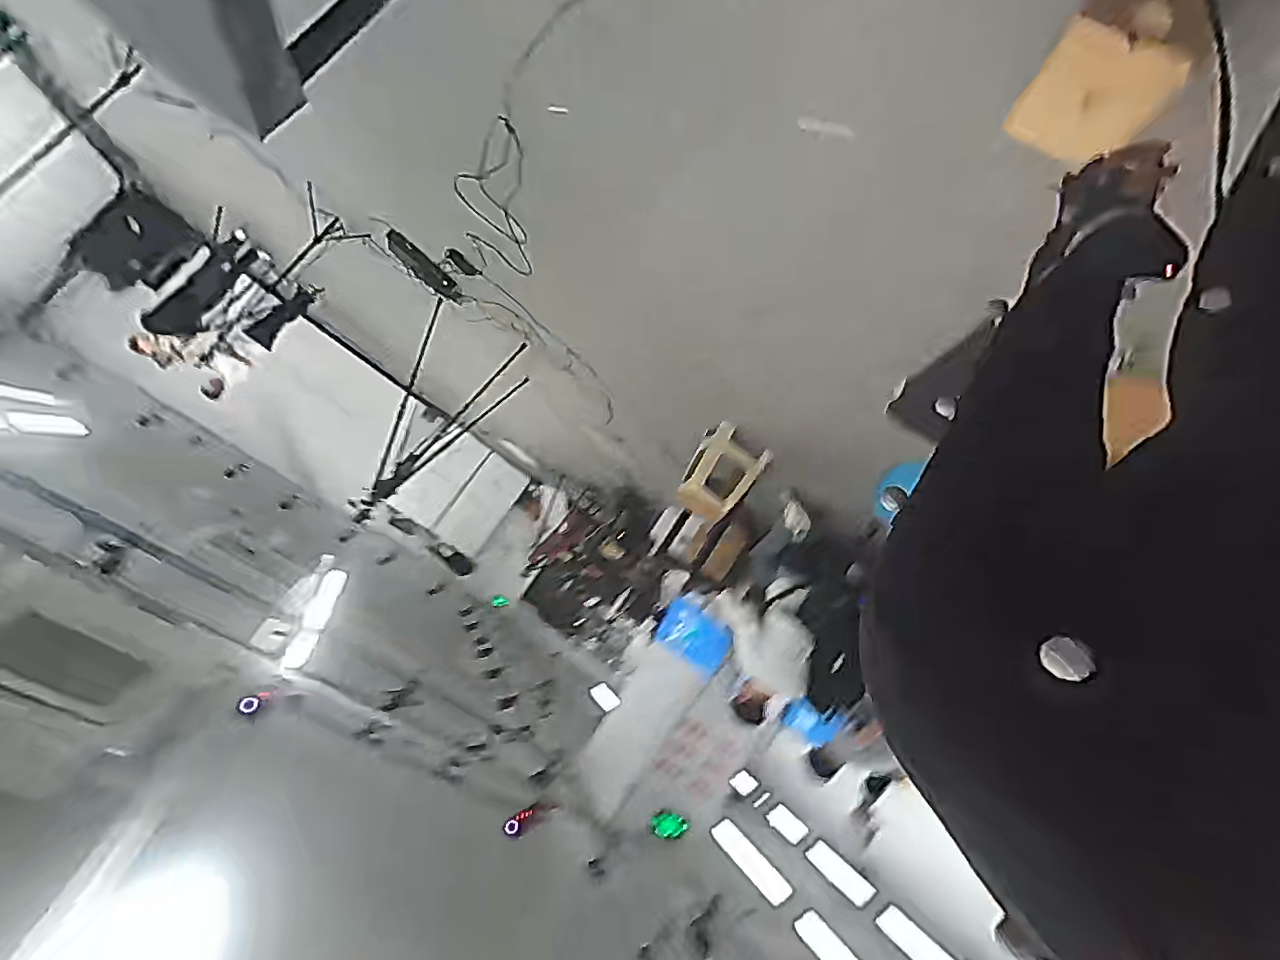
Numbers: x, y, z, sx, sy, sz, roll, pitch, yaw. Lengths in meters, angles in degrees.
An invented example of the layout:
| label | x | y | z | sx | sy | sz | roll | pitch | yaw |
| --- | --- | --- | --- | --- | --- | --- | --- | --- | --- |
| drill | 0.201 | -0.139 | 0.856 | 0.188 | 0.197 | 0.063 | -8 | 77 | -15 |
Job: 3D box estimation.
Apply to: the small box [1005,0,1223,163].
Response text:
| label | x | y | z | sx | sy | sz | roll | pitch | yaw |
| --- | --- | --- | --- | --- | --- | --- | --- | --- | --- |
| small box | 0.712 | -0.638 | 0.817 | 0.168 | 0.176 | 0.179 | 31 | 166 | 11 |
